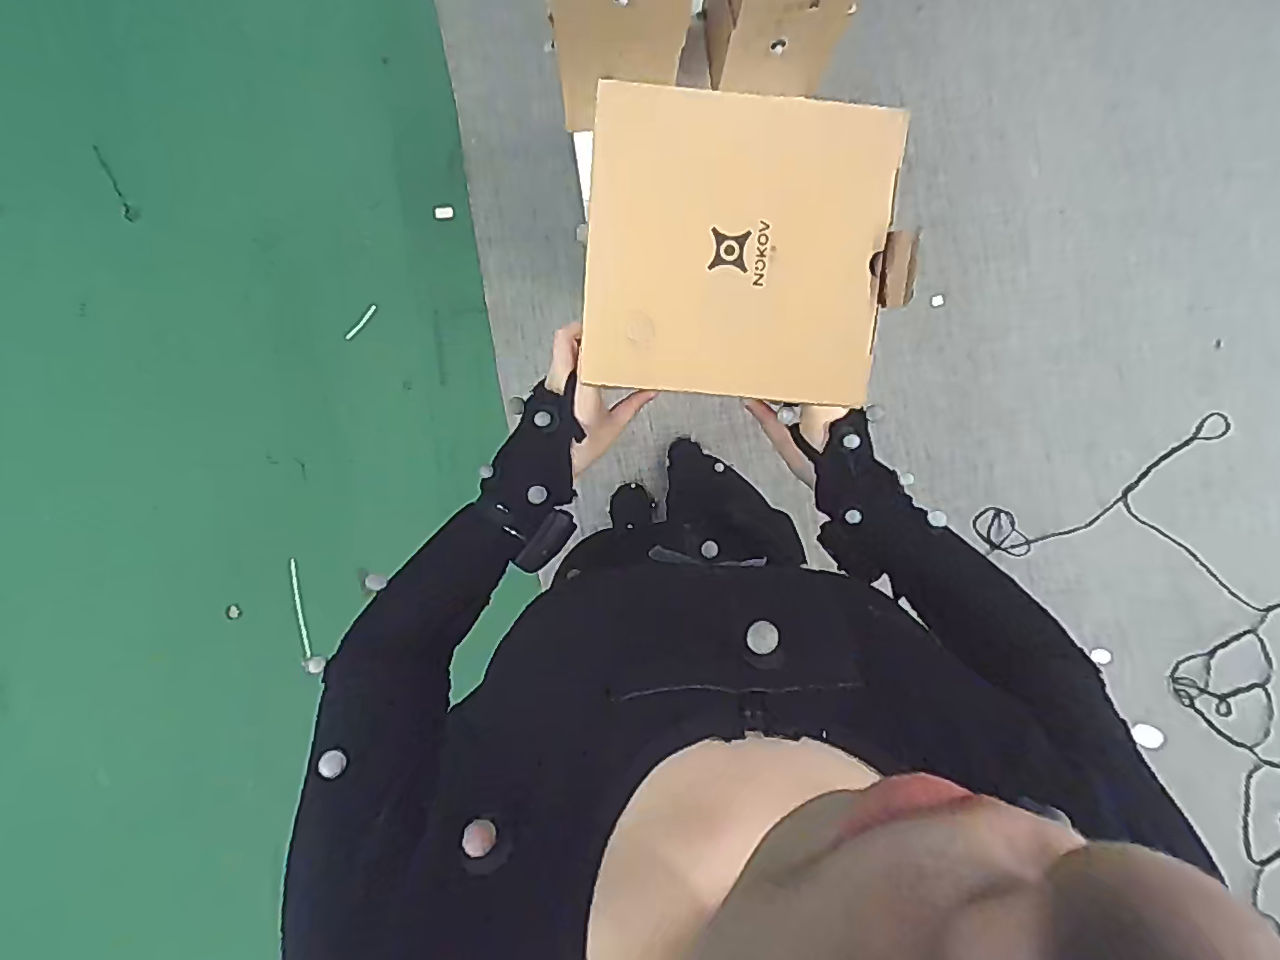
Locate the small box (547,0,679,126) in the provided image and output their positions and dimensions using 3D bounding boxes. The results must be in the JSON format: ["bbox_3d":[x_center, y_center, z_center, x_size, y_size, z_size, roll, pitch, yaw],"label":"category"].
[{"bbox_3d":[-0.044,-0.669,0.817,0.179,0.176,0.168,-8,92,-3],"label":"small box"}]

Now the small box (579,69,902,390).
[{"bbox_3d":[0.055,-0.156,0.395,0.179,0.176,0.168,4,99,-2],"label":"small box"}]

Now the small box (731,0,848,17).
[{"bbox_3d":[0.197,-0.718,0.662,0.168,0.176,0.179,-10,91,-2],"label":"small box"}]

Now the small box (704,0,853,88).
[{"bbox_3d":[0.198,-0.718,0.827,0.179,0.176,0.168,-8,91,-2],"label":"small box"}]
